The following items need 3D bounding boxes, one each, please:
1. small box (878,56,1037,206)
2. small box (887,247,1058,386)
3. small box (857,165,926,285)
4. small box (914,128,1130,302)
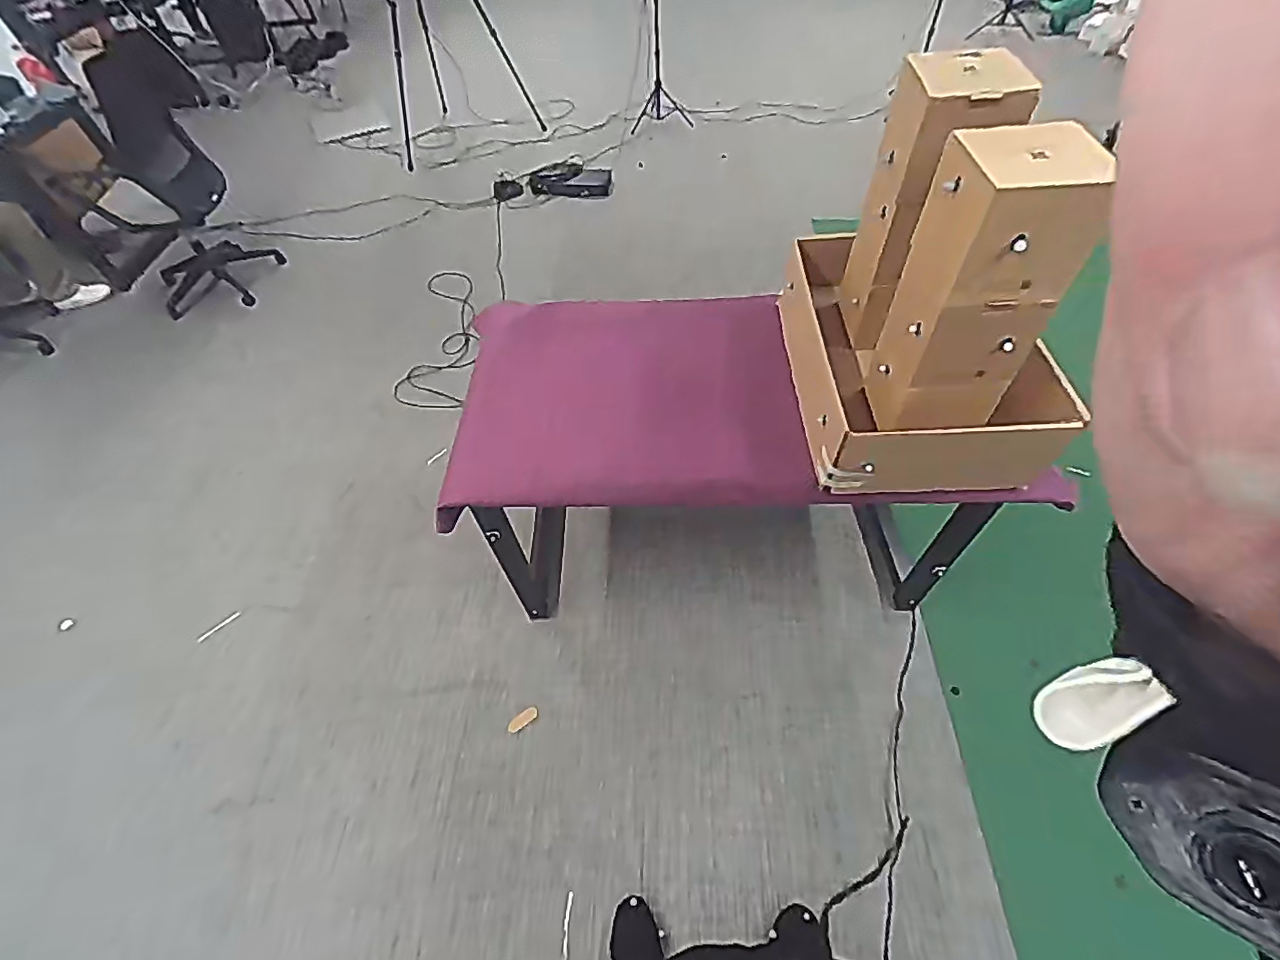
[{"bbox_3d":[0.531,-0.594,0.934,0.168,0.176,0.179,0,56,5],"label":"small box"},{"bbox_3d":[0.532,-0.269,0.897,0.168,0.176,0.179,-1,52,5],"label":"small box"},{"bbox_3d":[0.545,-0.500,1.068,0.168,0.176,0.179,1,54,5],"label":"small box"},{"bbox_3d":[0.520,-0.368,0.771,0.168,0.176,0.179,-2,52,4],"label":"small box"}]
